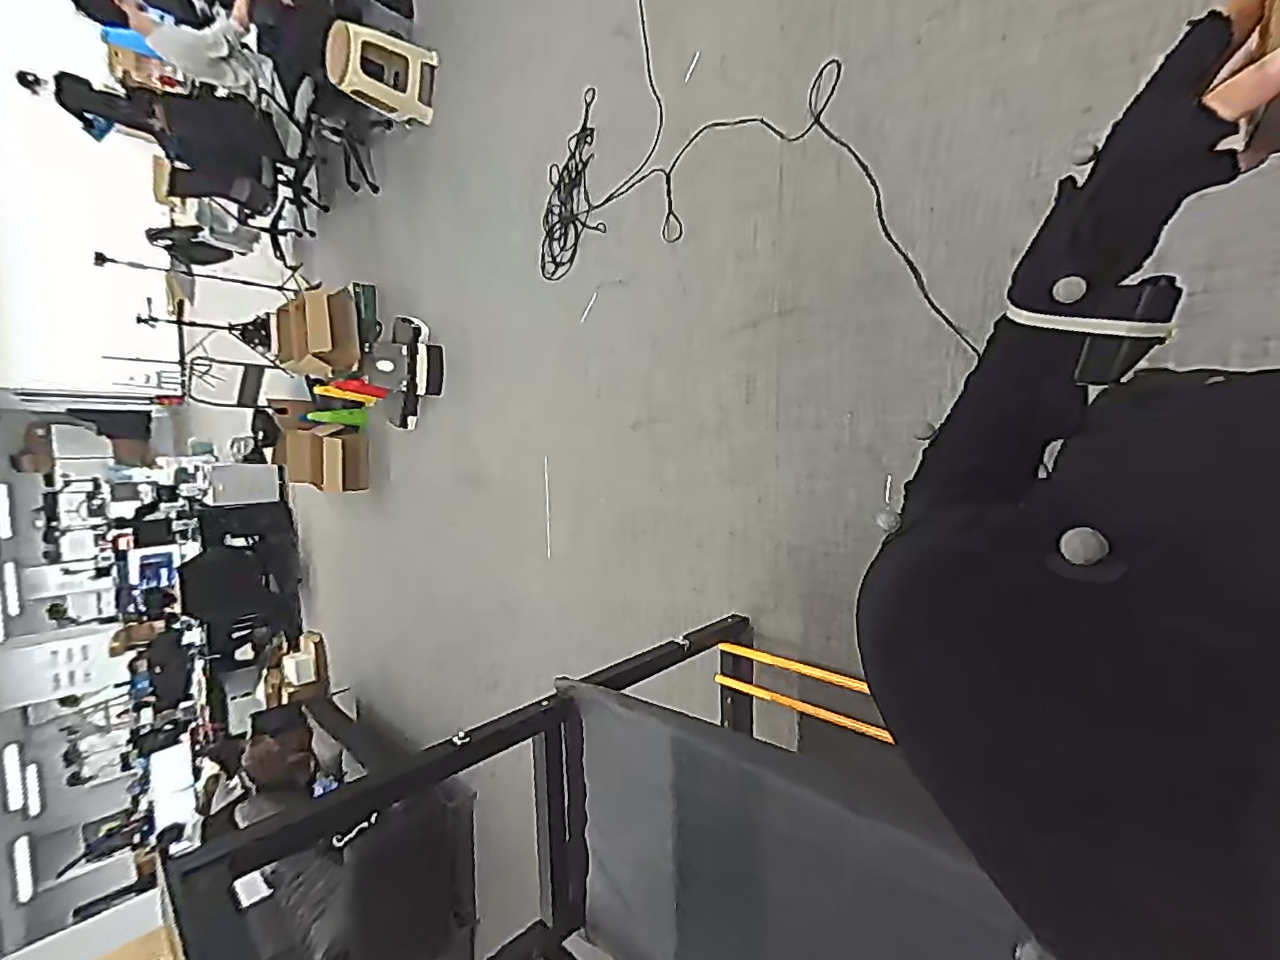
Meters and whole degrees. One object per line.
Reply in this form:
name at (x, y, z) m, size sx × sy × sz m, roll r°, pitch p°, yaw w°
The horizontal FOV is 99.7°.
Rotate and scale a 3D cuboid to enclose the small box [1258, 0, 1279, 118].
small box at (0.387, -0.274, 0.216) m, size 0.168 × 0.176 × 0.179 m, roll 5°, pitch 105°, yaw 43°
